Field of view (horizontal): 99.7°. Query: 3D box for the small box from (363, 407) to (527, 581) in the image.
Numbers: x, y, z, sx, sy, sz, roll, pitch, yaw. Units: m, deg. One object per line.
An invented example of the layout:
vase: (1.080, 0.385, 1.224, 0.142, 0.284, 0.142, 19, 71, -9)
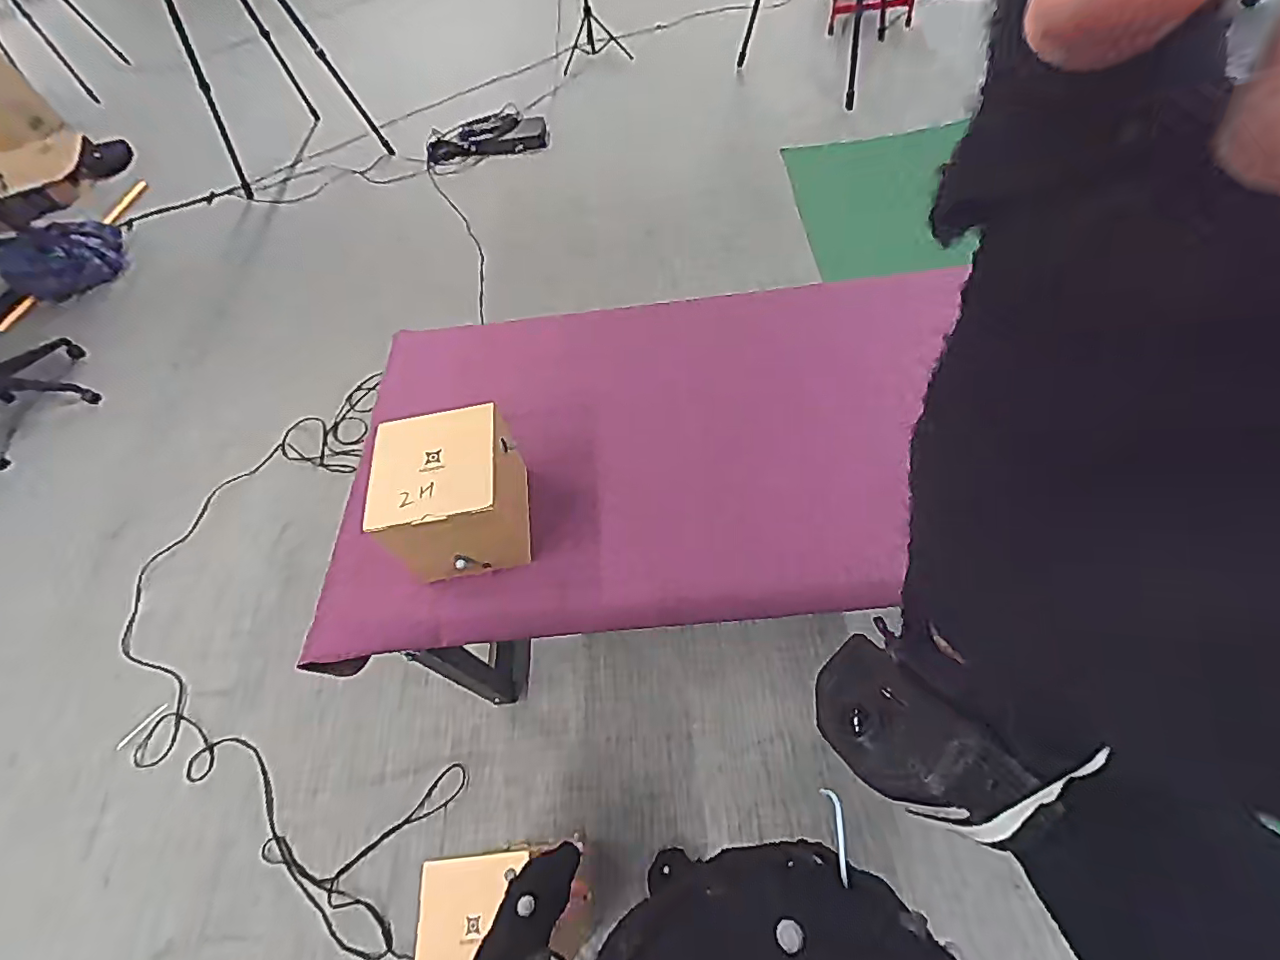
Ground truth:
small box: (-0.264, 0.024, 0.777, 0.168, 0.176, 0.179, -9, 57, 0)

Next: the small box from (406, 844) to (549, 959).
small box: (-0.242, 0.676, 0.836, 0.168, 0.176, 0.179, -7, 60, 2)

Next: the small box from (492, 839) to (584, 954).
small box: (-0.212, 0.848, 1.114, 0.168, 0.176, 0.179, -5, 59, 4)
